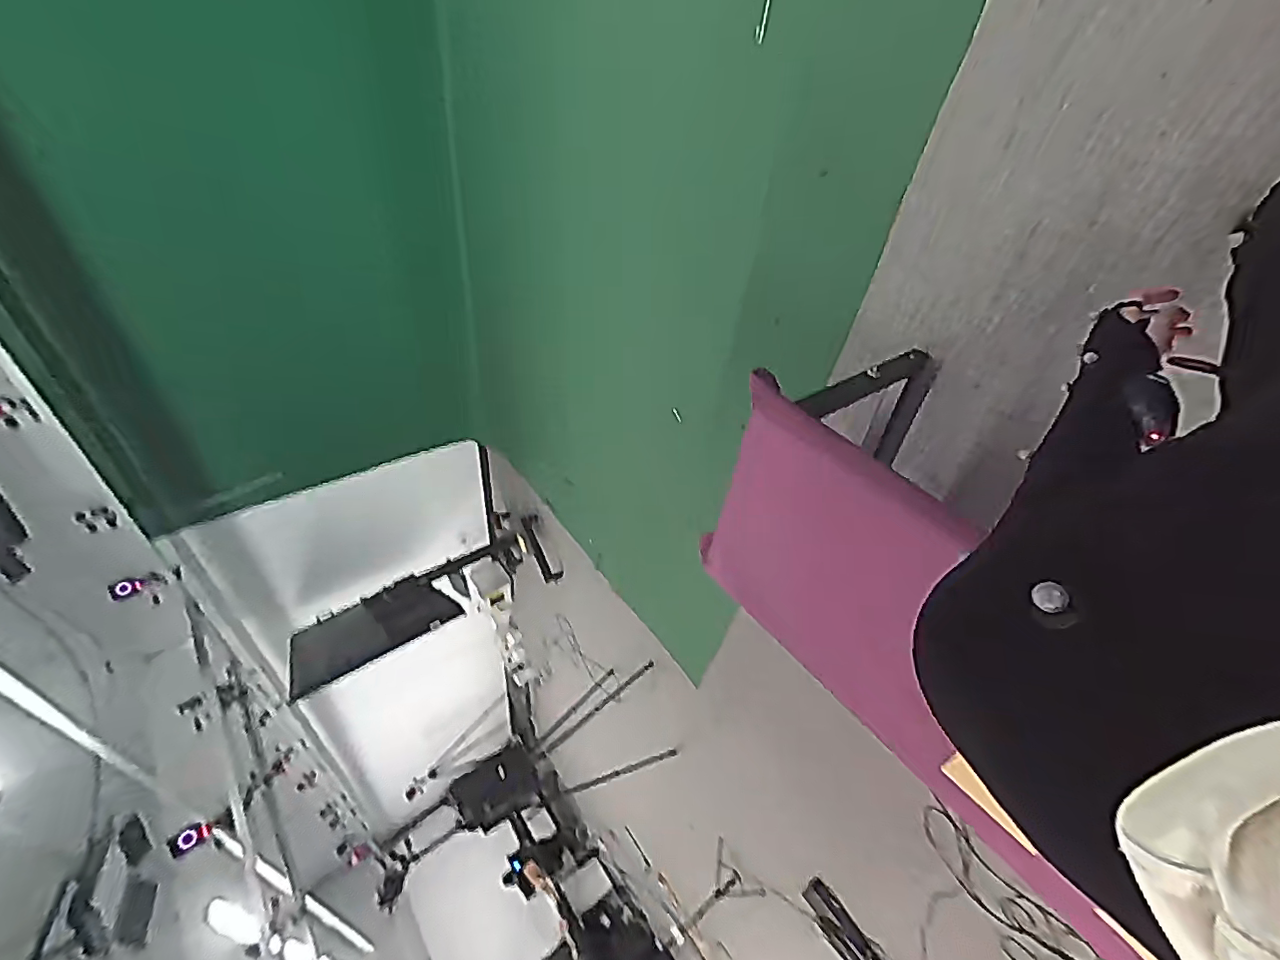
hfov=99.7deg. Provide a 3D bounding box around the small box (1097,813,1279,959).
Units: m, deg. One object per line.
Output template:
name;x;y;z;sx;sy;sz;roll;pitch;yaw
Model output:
small box;0.813;0.621;0.764;0.168;0.176;0.179;41;141;34
